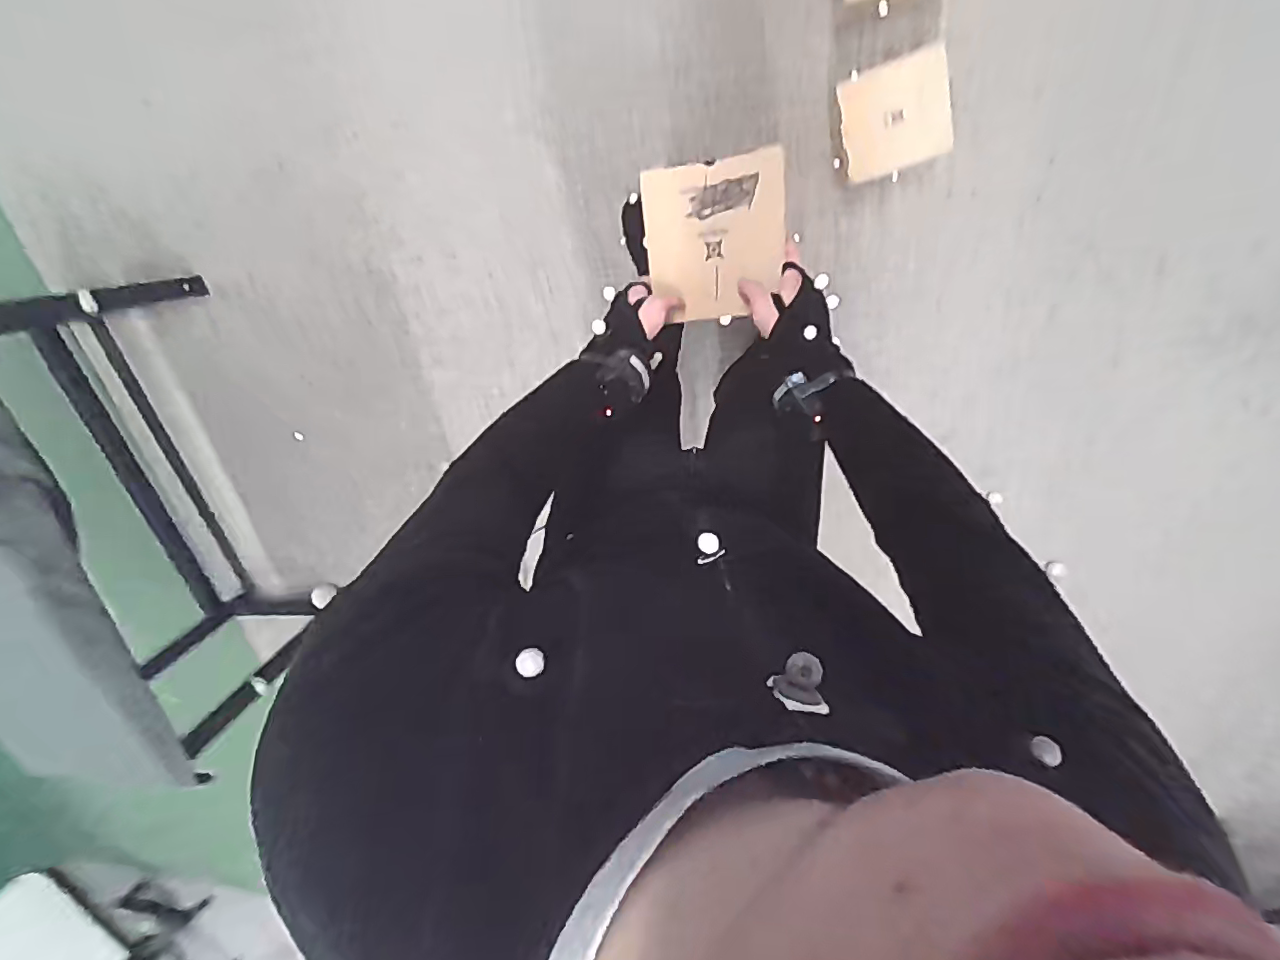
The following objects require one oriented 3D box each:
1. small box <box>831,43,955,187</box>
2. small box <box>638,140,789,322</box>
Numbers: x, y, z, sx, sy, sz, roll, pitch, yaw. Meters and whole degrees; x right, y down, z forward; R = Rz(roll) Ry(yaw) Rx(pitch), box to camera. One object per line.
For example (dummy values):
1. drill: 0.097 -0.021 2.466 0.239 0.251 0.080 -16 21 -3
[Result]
1. small box: 0.460 -0.661 1.004 0.179 0.176 0.168 -12 113 17
2. small box: 0.103 -0.305 0.690 0.168 0.176 0.179 -1 111 16
